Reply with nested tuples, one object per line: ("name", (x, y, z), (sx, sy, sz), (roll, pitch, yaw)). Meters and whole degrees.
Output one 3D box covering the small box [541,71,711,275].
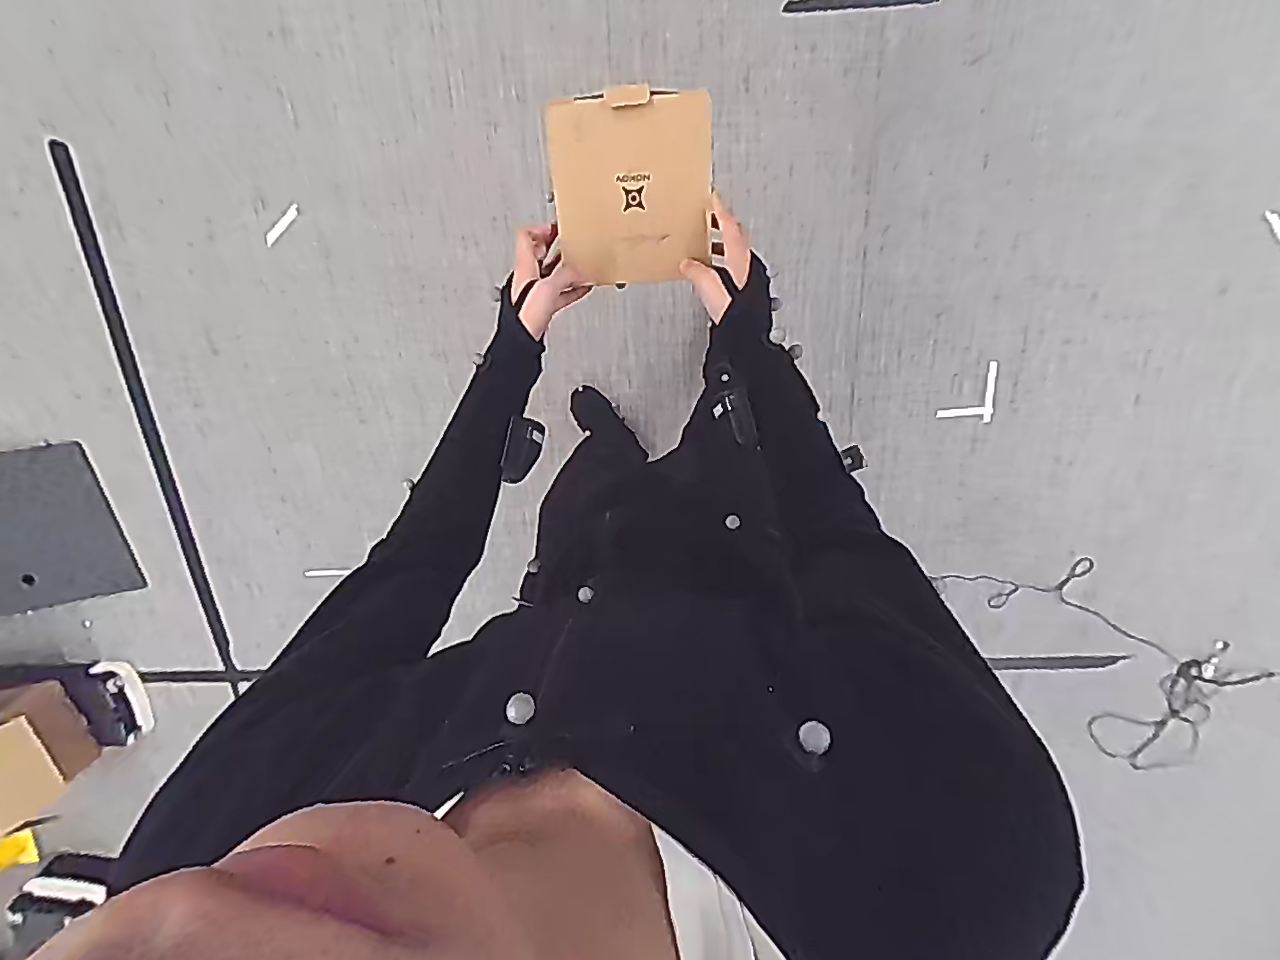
("small box", (-0.015, -0.336, 0.617), (0.168, 0.176, 0.179), (-5, 115, -2))
